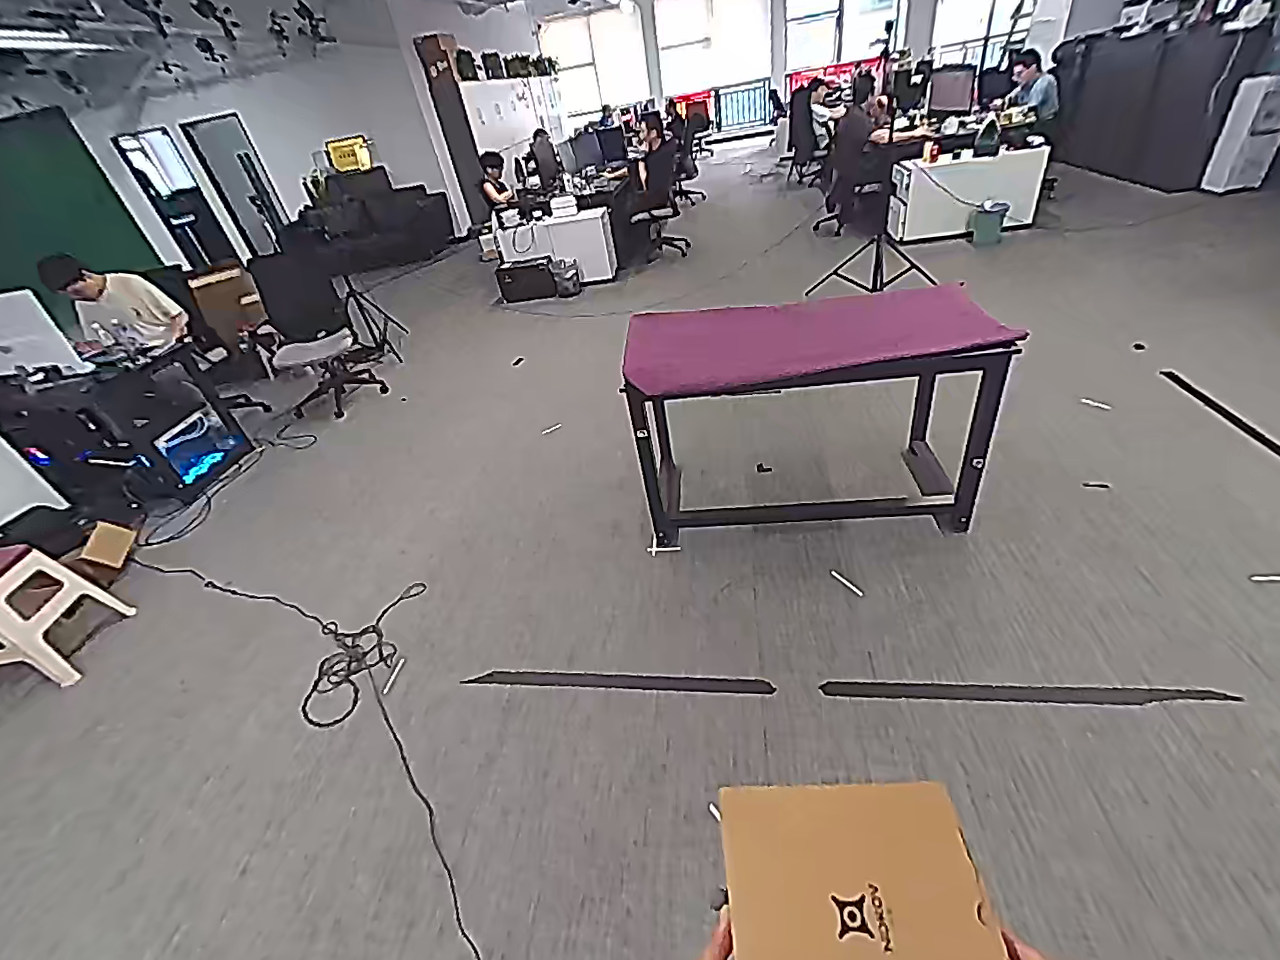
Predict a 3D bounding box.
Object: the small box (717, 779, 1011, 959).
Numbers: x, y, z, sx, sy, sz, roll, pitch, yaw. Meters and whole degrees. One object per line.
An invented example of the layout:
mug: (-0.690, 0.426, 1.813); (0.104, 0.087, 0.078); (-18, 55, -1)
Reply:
small box: (0.156, 0.350, 0.417); (0.179, 0.176, 0.168); (-4, 44, 4)
